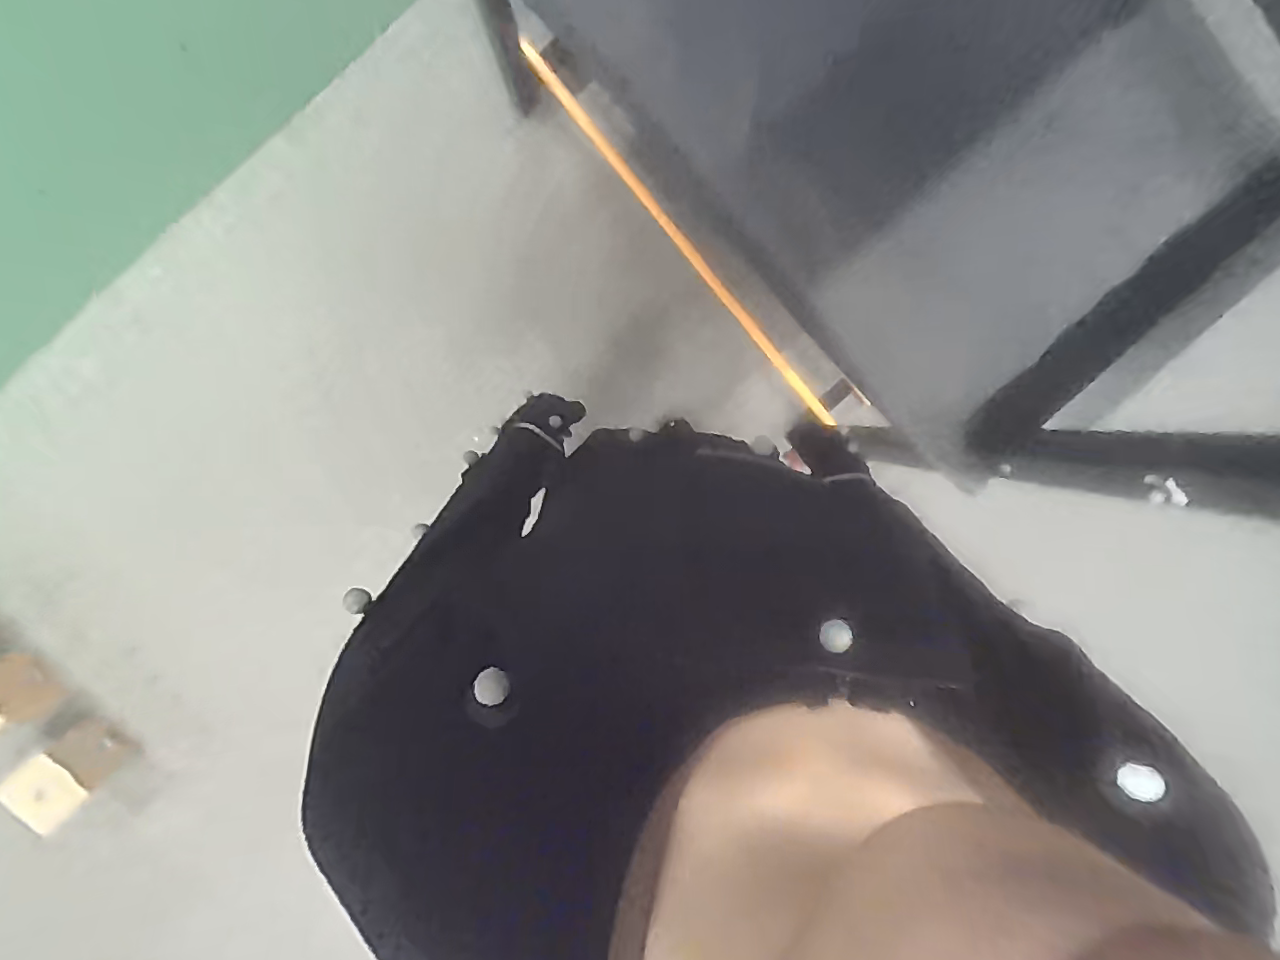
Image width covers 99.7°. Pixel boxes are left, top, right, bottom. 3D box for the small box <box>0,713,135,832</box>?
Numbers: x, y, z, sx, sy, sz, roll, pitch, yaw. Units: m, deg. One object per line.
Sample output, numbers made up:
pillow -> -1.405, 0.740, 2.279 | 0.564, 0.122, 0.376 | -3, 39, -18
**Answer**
small box -> -1.510, 0.762, 1.422 | 0.179, 0.176, 0.168 | -41, 97, 2
